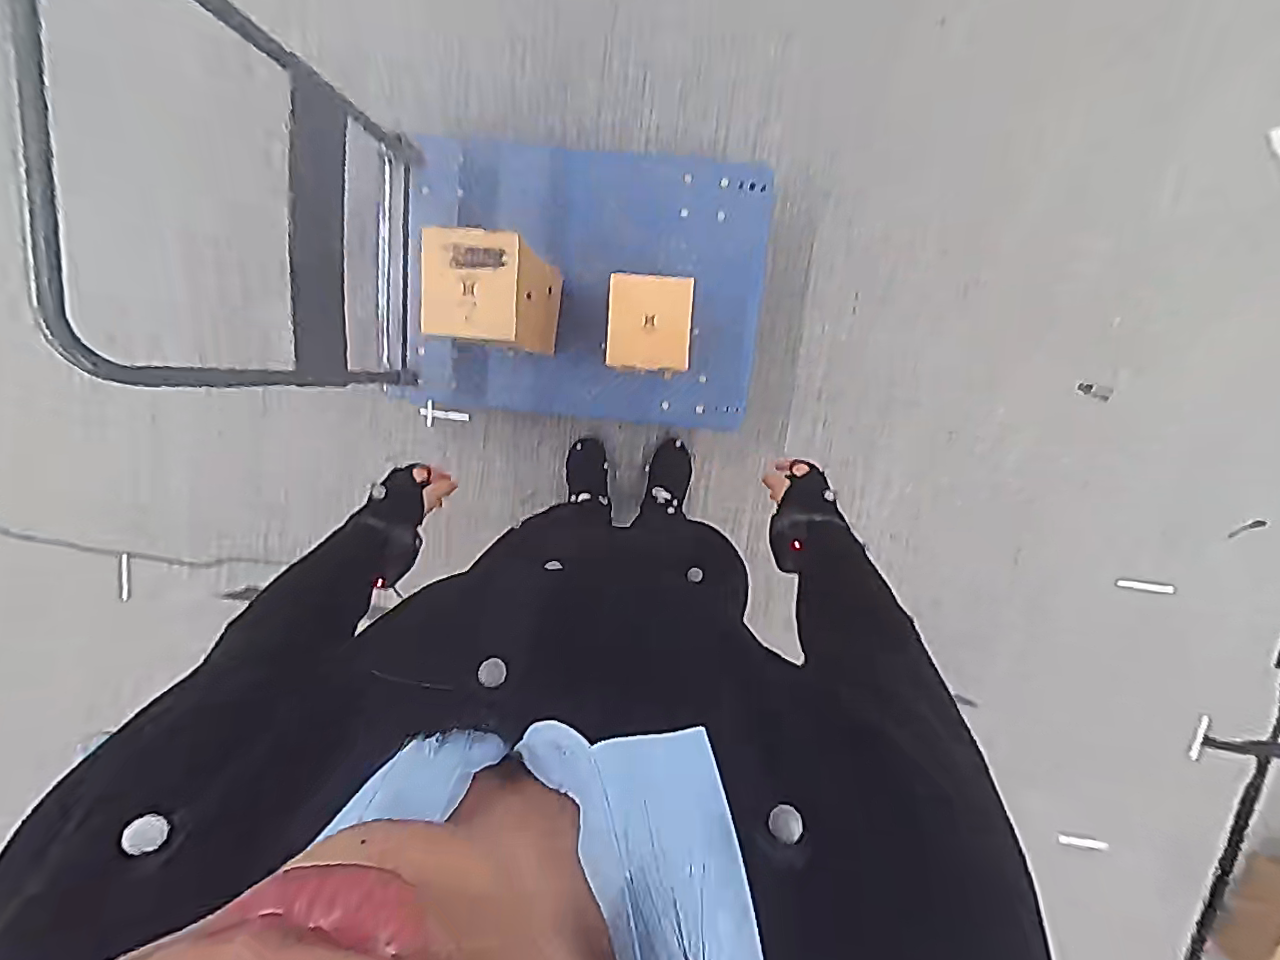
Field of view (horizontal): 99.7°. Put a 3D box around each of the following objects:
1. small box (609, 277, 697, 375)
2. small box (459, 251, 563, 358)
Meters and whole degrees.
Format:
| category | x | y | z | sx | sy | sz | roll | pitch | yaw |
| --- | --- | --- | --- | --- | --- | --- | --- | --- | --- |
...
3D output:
| category | x | y | z | sx | sy | sz | roll | pitch | yaw |
| --- | --- | --- | --- | --- | --- | --- | --- | --- | --- |
| small box | 0.027 | -0.318 | 1.145 | 0.168 | 0.176 | 0.179 | 3 | 100 | 2 |
| small box | -0.265 | -0.362 | 1.147 | 0.168 | 0.176 | 0.179 | 10 | 100 | 1 |
